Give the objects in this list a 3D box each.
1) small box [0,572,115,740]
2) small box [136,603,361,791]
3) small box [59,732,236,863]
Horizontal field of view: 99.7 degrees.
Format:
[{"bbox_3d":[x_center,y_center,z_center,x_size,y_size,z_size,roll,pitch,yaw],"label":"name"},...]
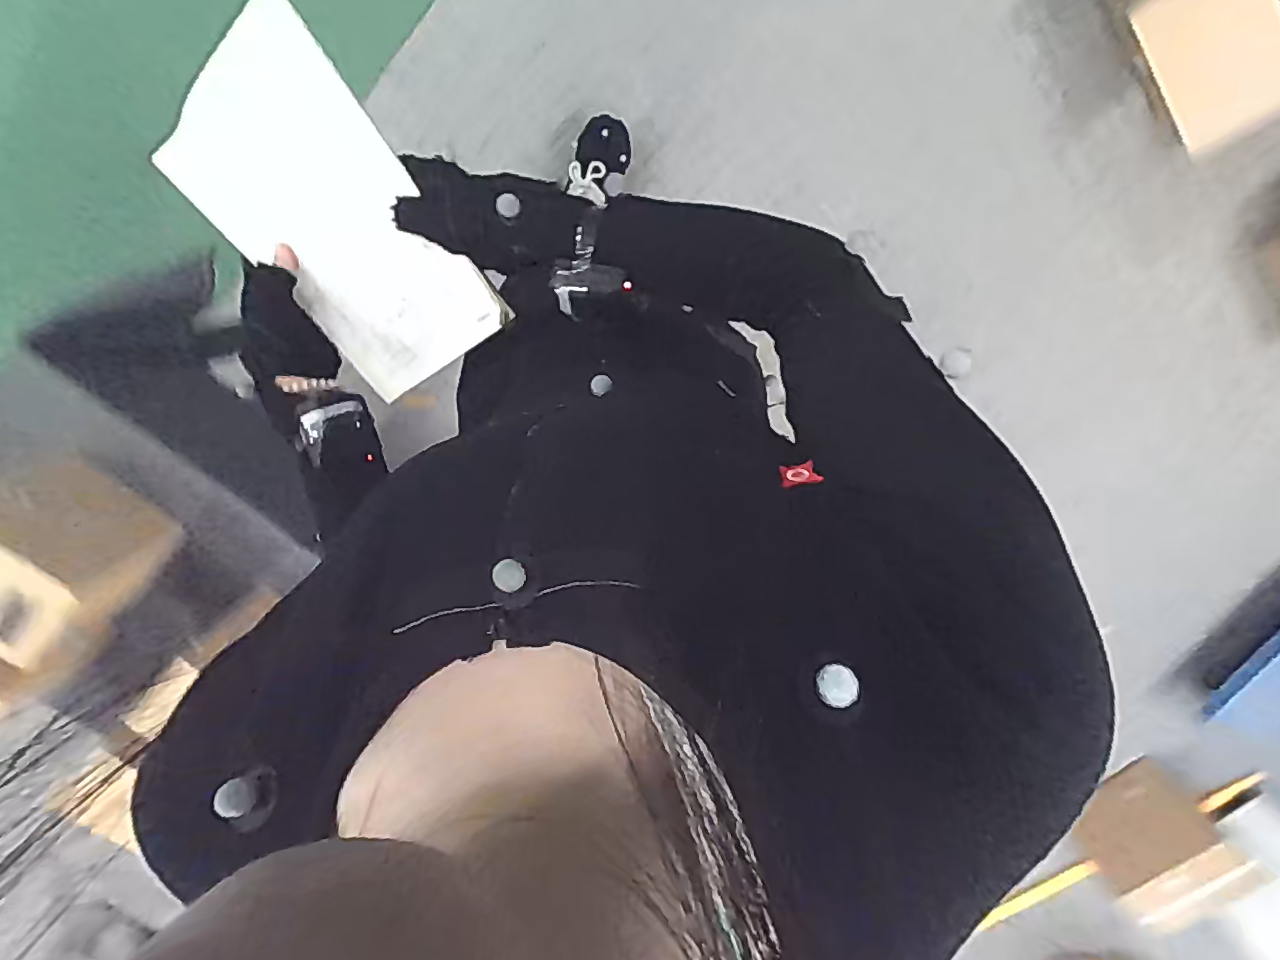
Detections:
[{"bbox_3d":[-0.948,0.272,0.795,0.179,0.176,0.168,-40,108,15],"label":"small box"},{"bbox_3d":[-0.569,0.312,0.809,0.168,0.176,0.179,-42,107,17],"label":"small box"},{"bbox_3d":[-0.748,0.464,0.878,0.179,0.176,0.168,-40,107,16],"label":"small box"}]
